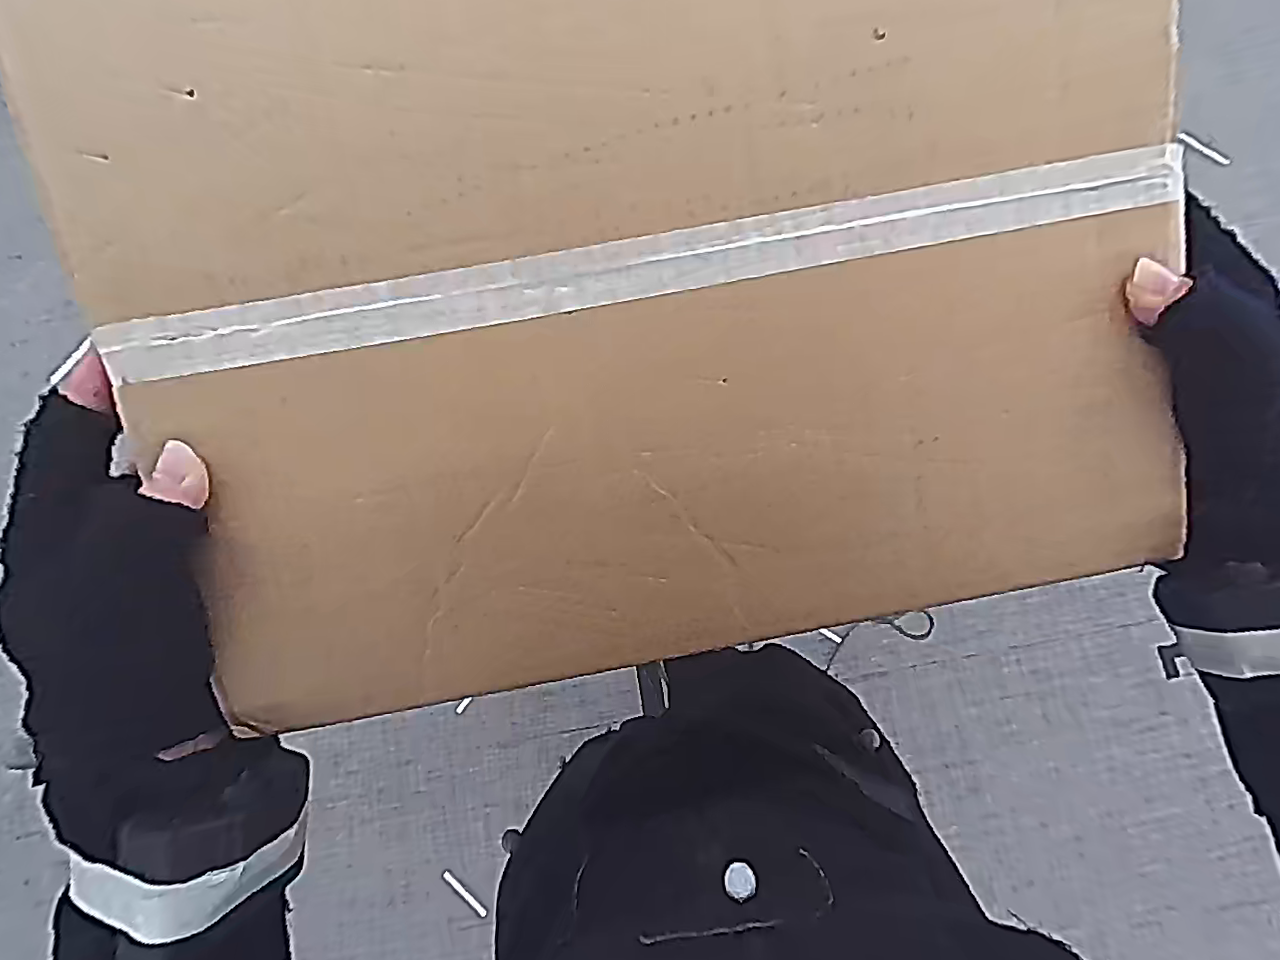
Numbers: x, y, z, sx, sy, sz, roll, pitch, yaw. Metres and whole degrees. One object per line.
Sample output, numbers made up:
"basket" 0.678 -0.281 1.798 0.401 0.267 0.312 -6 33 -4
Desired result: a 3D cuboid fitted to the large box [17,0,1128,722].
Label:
"large box" -0.006 -0.104 0.362 0.408 0.320 0.320 -10 99 -2
